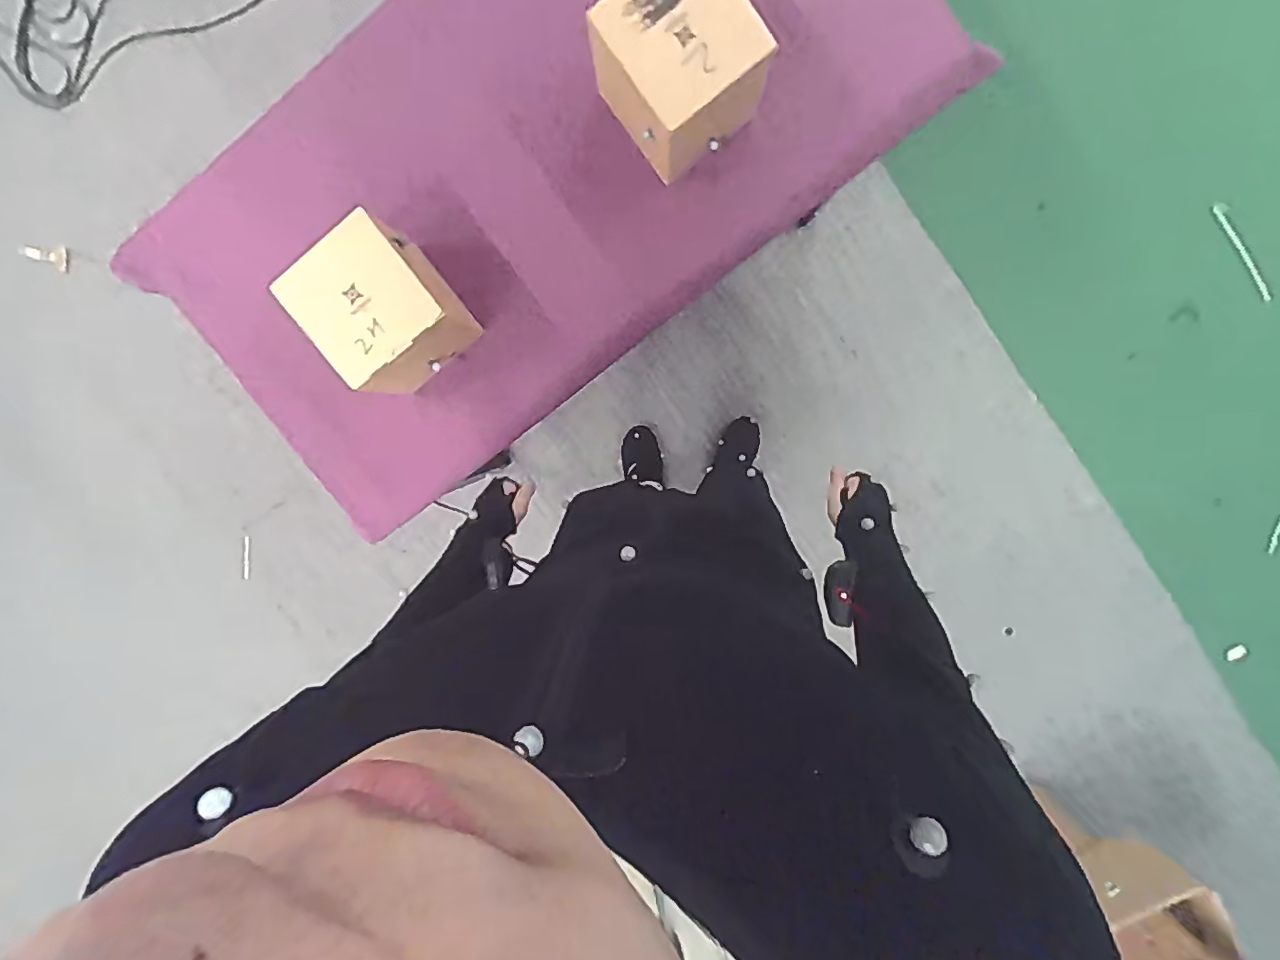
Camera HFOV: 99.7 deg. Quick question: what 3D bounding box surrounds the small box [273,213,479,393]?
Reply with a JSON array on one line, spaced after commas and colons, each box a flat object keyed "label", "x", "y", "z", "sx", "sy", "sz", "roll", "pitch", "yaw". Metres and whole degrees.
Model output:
[{"label": "small box", "x": -0.372, "y": -0.243, "z": 0.795, "sx": 0.168, "sy": 0.176, "sz": 0.179, "roll": -38, "pitch": 94, "yaw": 6}]
